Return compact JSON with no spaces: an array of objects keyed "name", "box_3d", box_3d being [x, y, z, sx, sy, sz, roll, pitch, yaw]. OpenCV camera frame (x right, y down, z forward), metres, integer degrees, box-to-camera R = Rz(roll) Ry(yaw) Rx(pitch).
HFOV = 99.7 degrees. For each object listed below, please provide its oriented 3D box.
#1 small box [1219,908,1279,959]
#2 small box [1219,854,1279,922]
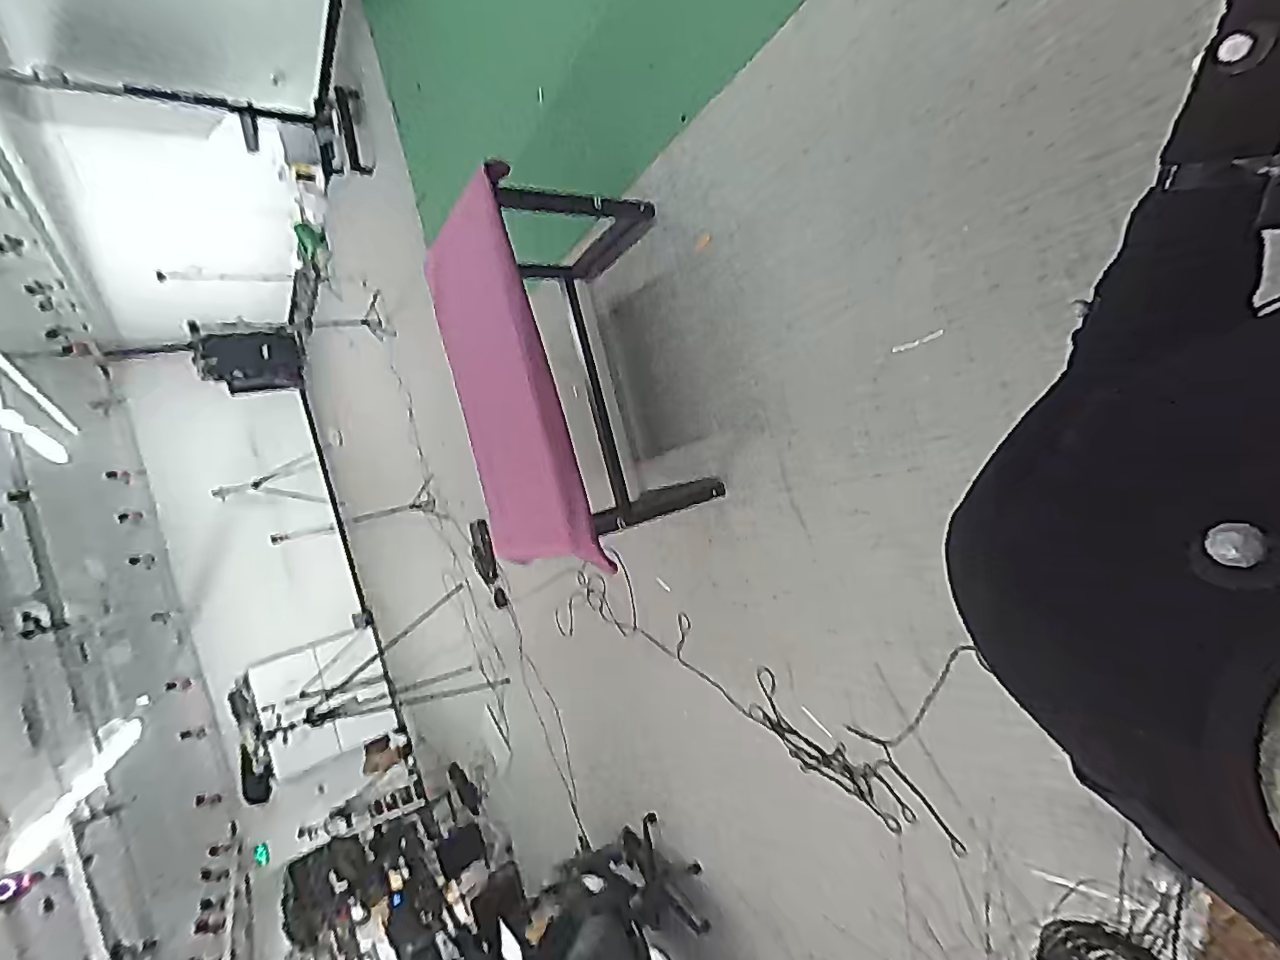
[{"name":"small box","box_3d":[1.179,0.920,0.961,0.179,0.176,0.168,-18,86,53]},{"name":"small box","box_3d":[1.300,0.888,1.068,0.179,0.176,0.168,-18,87,54]}]
